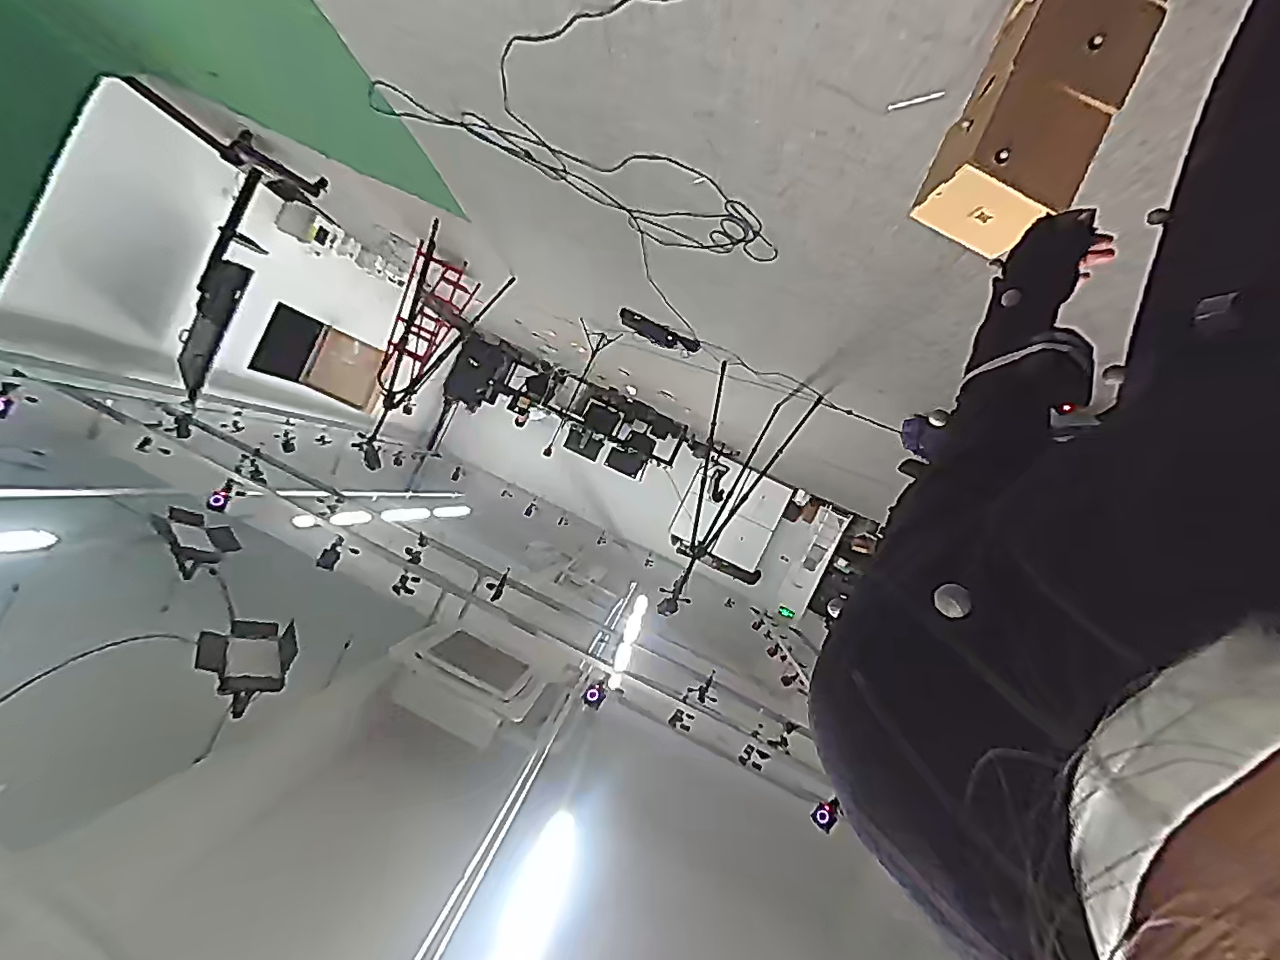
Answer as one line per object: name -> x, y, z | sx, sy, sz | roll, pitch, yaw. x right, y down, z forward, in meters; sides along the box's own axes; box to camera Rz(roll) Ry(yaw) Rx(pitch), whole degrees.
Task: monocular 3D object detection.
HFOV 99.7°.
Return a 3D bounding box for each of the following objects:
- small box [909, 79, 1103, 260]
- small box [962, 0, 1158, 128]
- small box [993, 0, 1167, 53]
small box -> 0.597, -0.505, 0.893 | 0.179, 0.176, 0.168 | 27, 180, -3
small box -> 0.669, -0.650, 0.884 | 0.179, 0.176, 0.168 | 25, 180, 2
small box -> 0.737, -0.802, 0.880 | 0.179, 0.176, 0.168 | 28, -177, 5
